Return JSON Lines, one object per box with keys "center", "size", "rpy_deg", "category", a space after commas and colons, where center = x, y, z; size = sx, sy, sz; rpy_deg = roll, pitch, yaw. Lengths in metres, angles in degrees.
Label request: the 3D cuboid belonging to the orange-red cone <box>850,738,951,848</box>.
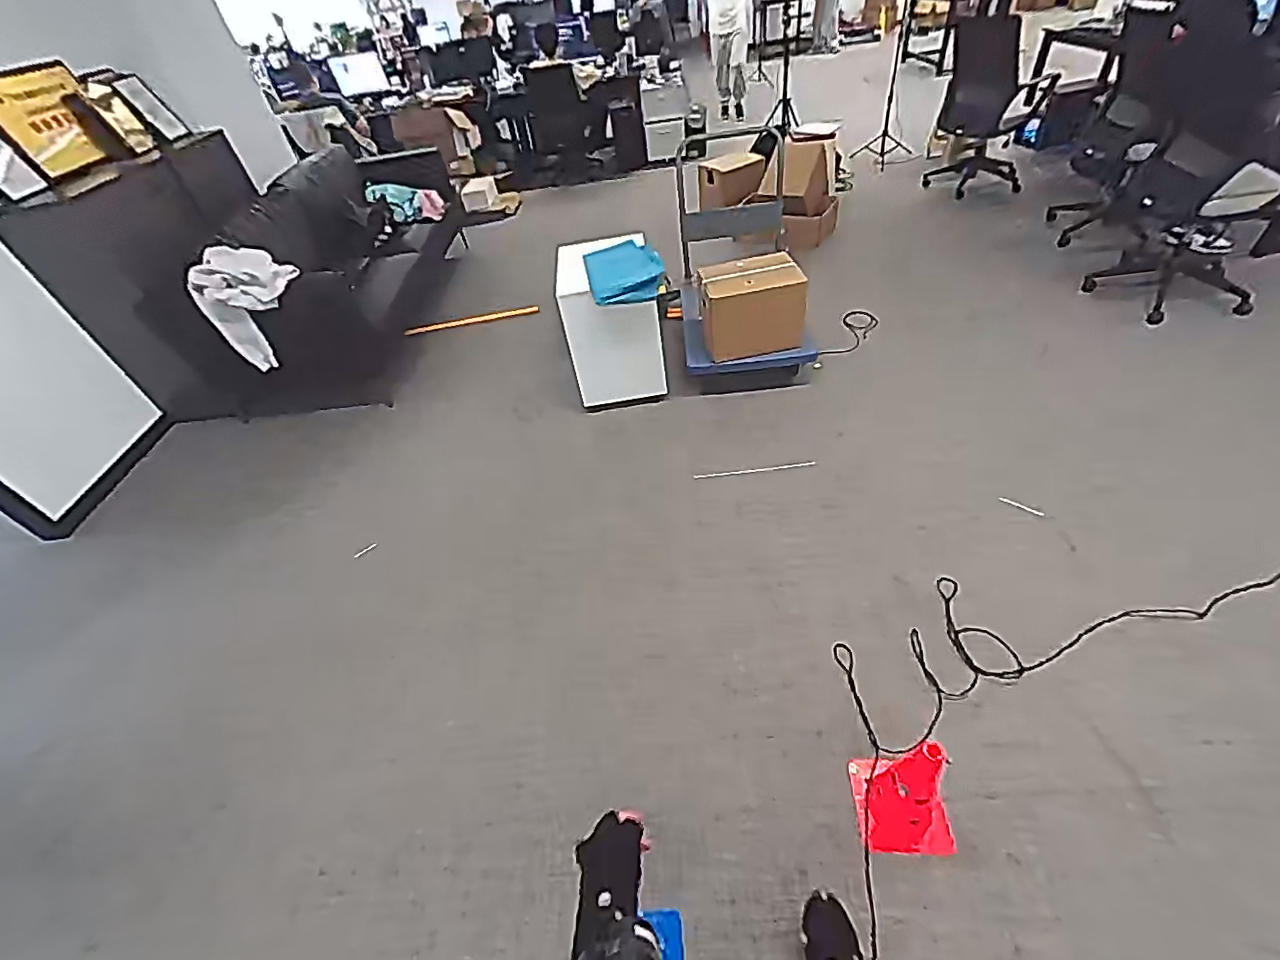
{"center": [0.590, 0.641, 1.168], "size": [0.198, 0.360, 0.199], "rpy_deg": [-3, 46, 9], "category": "orange-red cone"}
